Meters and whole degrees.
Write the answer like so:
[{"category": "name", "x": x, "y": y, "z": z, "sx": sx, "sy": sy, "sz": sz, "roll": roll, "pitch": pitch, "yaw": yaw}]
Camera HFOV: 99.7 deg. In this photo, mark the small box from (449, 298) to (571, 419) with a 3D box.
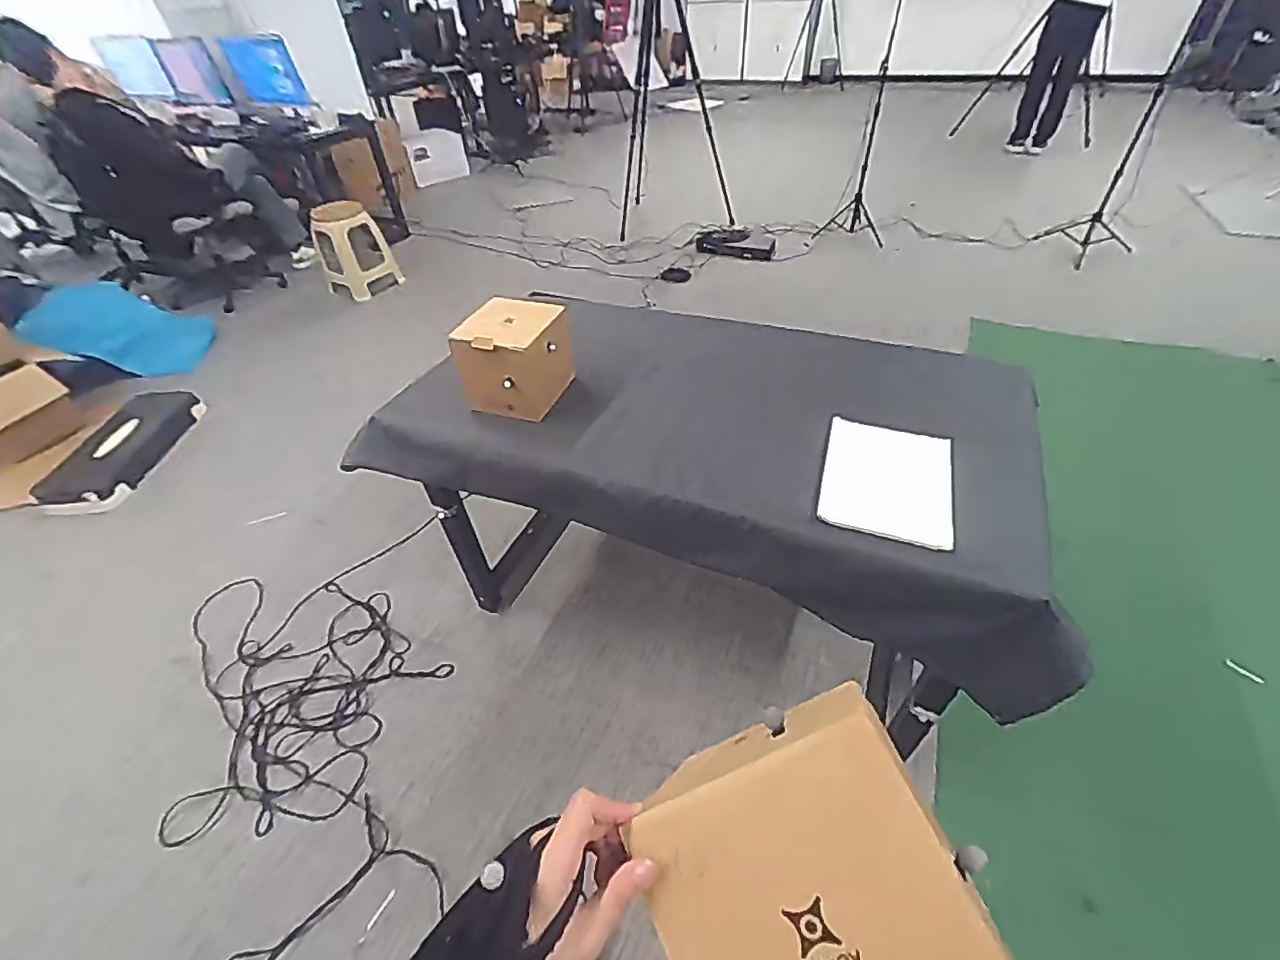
[{"category": "small box", "x": -0.249, "y": -0.244, "z": 1.091, "sx": 0.168, "sy": 0.176, "sz": 0.179, "roll": 12, "pitch": 44, "yaw": 15}]
